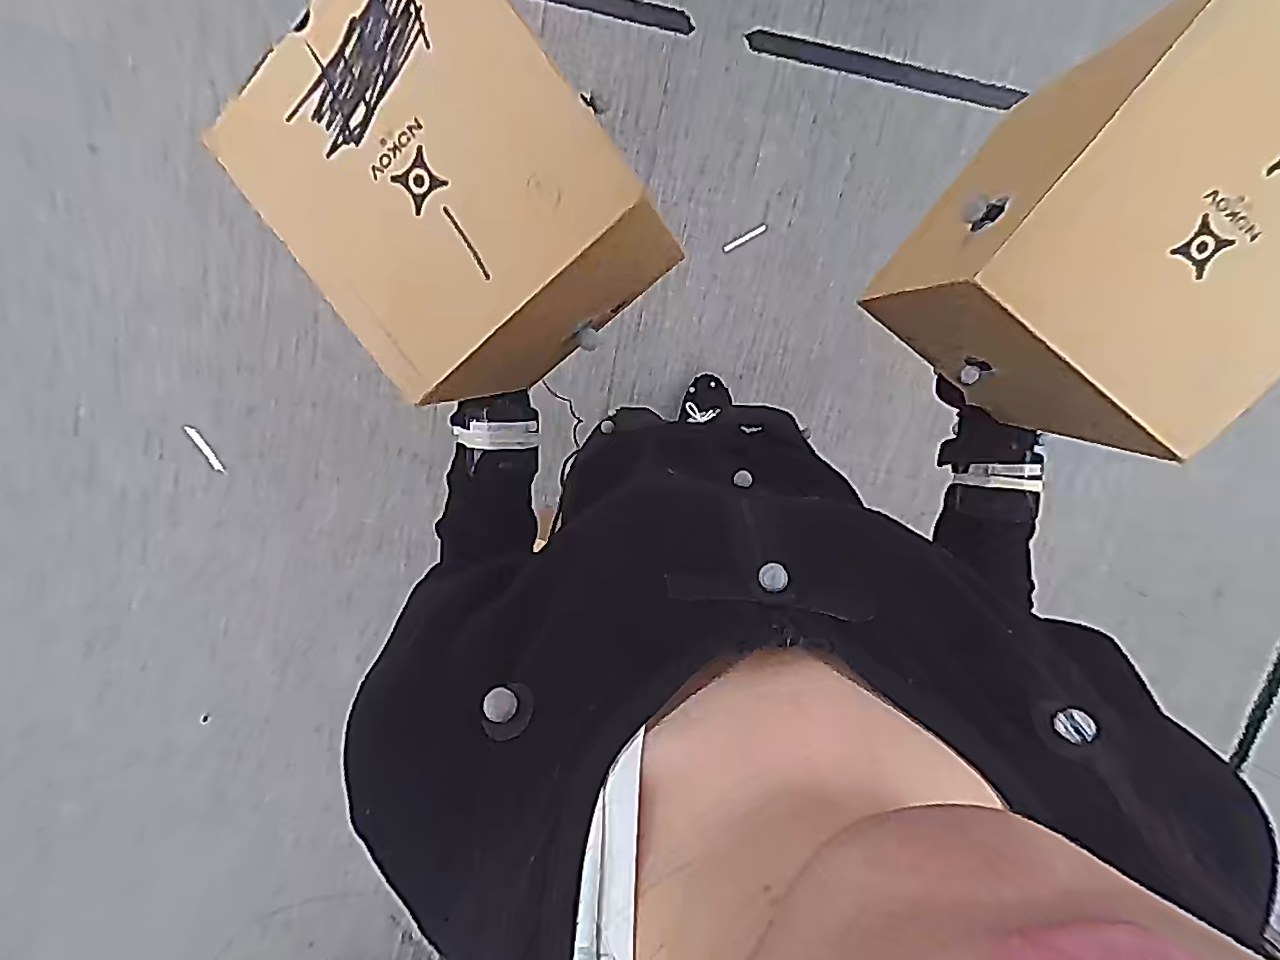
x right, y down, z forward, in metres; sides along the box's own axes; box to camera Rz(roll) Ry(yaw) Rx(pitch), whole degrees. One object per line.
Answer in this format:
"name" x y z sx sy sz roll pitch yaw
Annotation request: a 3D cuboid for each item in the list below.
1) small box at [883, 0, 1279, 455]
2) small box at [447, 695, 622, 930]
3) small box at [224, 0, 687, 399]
"small box" 0.290 -0.145 0.351 0.168 0.176 0.179 35 102 -8
"small box" -0.122 0.407 0.688 0.168 0.176 0.179 14 102 0
"small box" -0.089 -0.172 0.340 0.168 0.176 0.179 -35 95 18
